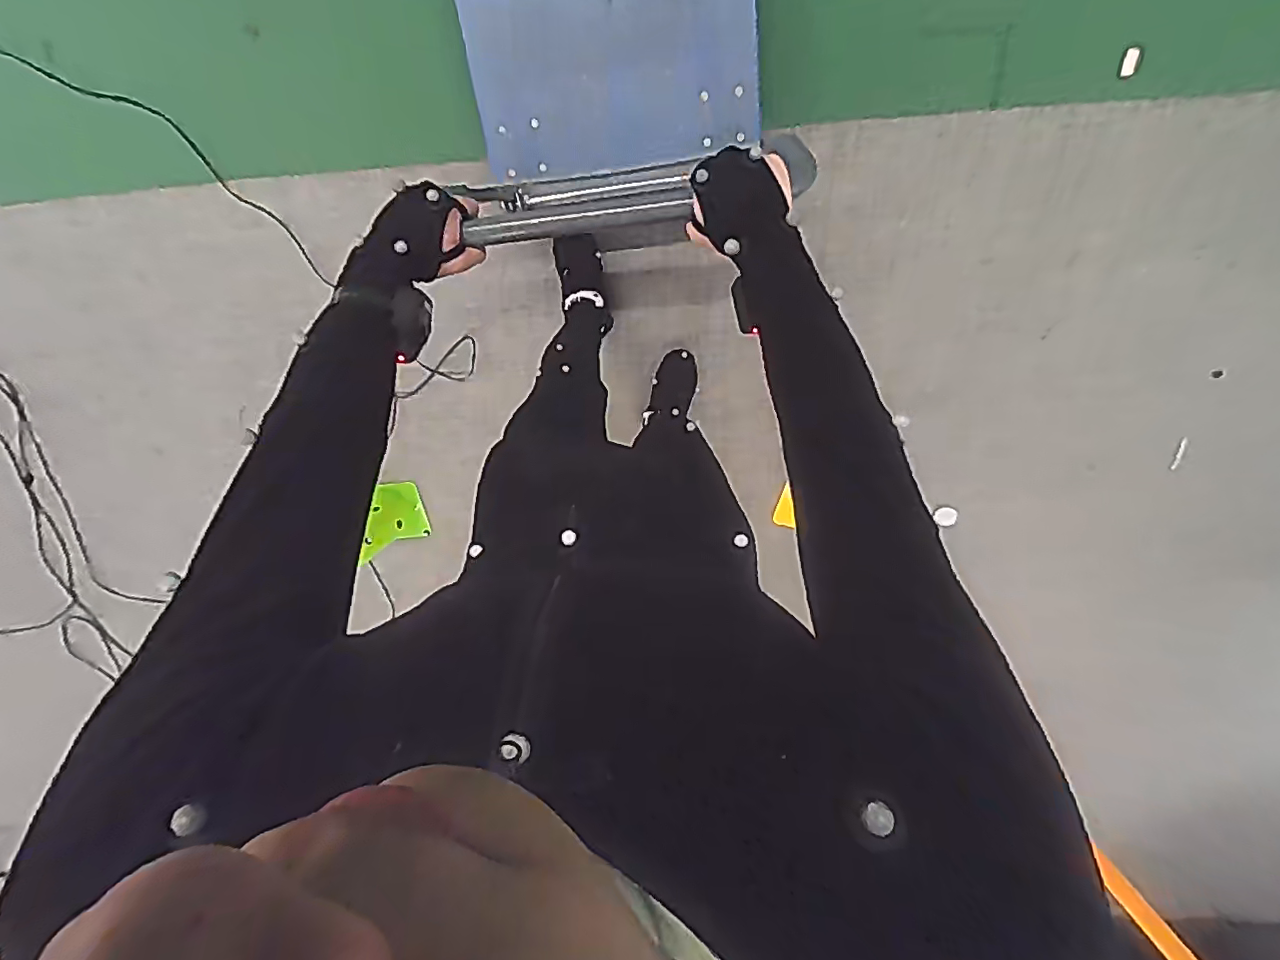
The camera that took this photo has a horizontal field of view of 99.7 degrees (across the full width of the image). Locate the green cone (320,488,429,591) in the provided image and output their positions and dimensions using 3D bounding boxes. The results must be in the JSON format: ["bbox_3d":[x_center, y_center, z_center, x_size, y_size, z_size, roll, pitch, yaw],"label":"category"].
[{"bbox_3d":[-0.809,0.195,1.586,0.202,0.368,0.200,-6,115,7],"label":"green cone"}]
